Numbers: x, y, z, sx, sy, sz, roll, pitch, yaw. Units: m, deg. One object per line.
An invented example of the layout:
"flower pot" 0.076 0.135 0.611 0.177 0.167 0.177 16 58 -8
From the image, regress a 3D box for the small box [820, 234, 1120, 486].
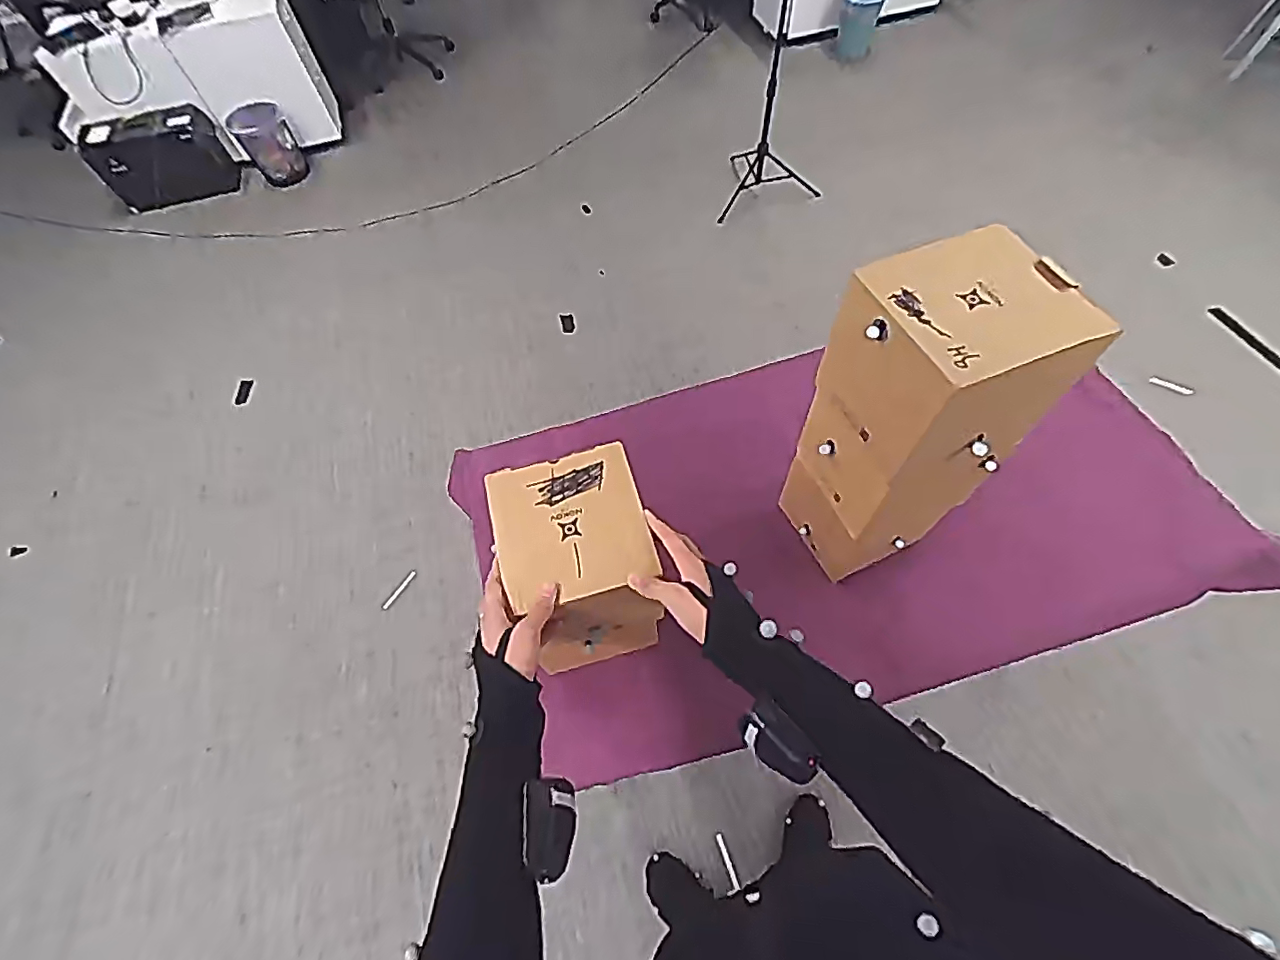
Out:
"small box" 0.321 -0.120 0.572 0.179 0.176 0.168 -18 60 -8

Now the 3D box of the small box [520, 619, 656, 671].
"small box" -0.080 0.170 0.804 0.179 0.176 0.168 -14 60 -6

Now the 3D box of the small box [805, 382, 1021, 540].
"small box" 0.337 -0.043 0.716 0.179 0.176 0.168 -19 61 -8

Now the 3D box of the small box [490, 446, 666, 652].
"small box" -0.072 0.089 0.661 0.168 0.176 0.179 -15 61 -6
